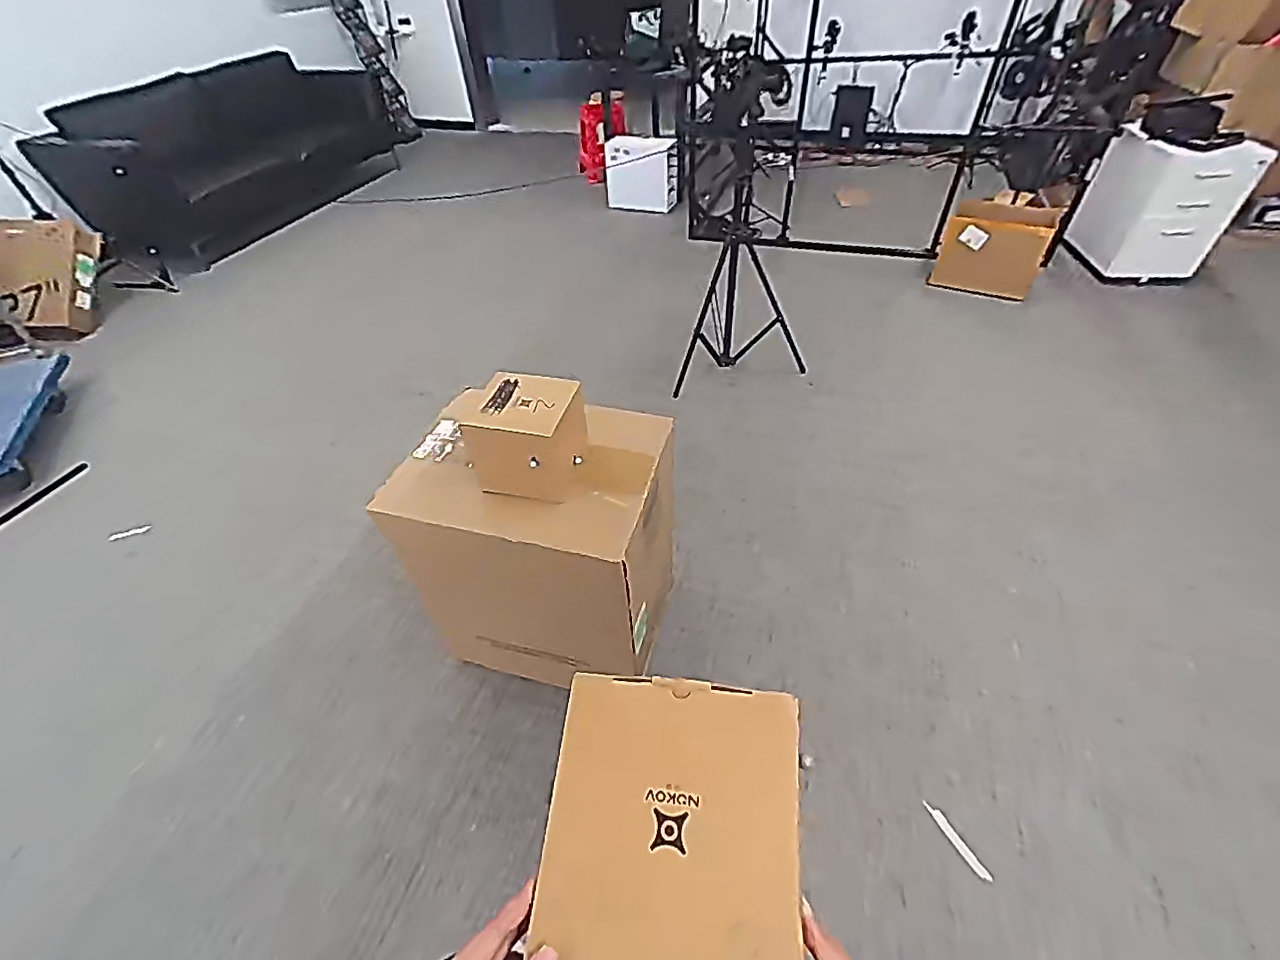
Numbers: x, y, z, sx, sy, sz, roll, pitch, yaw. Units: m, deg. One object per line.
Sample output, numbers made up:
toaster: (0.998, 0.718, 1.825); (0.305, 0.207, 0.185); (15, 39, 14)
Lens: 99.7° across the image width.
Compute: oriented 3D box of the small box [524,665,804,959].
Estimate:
small box: (0.030, 0.256, 0.413); (0.168, 0.176, 0.179); (2, 58, 9)
